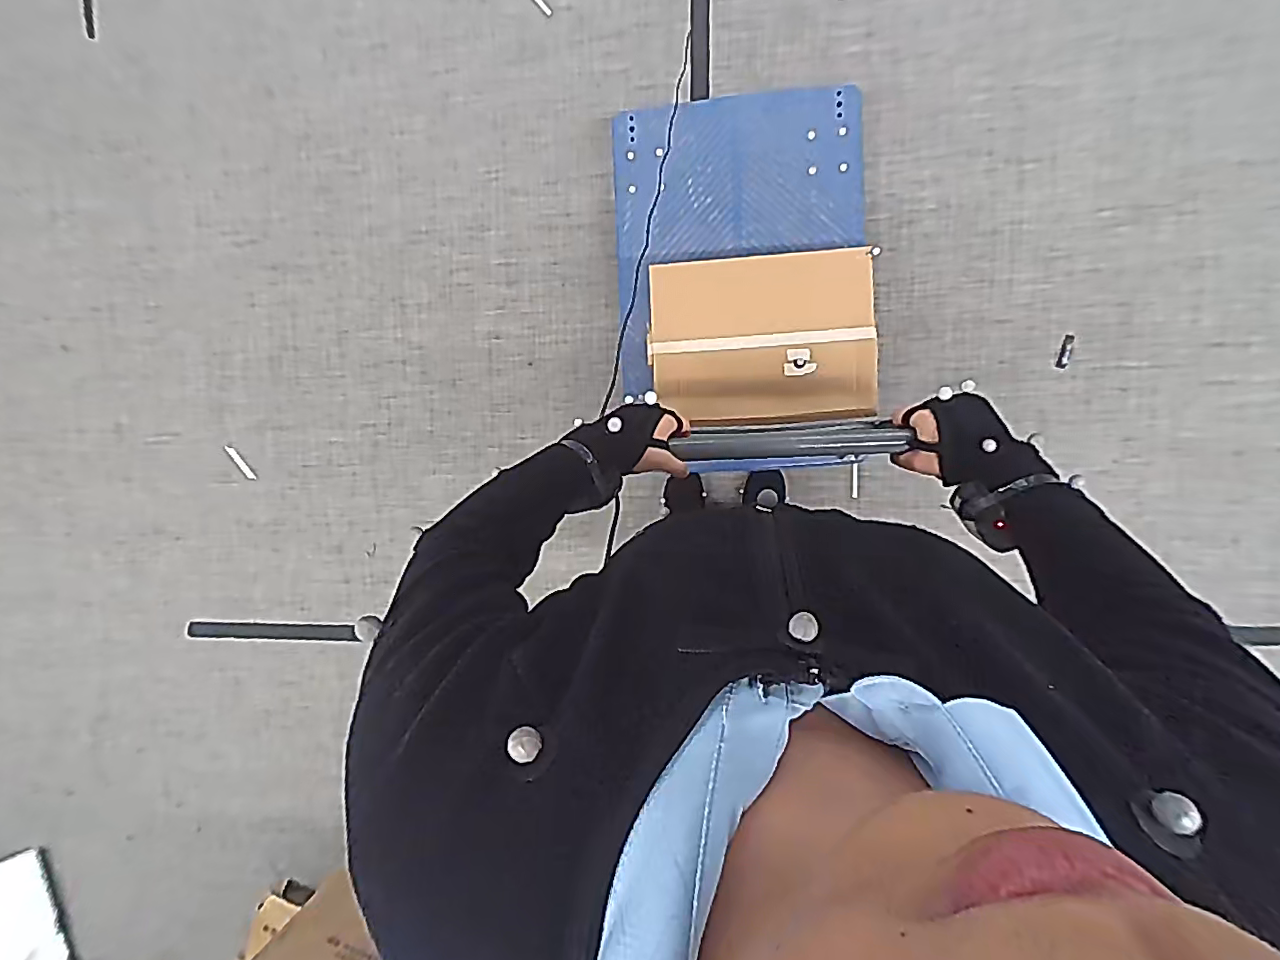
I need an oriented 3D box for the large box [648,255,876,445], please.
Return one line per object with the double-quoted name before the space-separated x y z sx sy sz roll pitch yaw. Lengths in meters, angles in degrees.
"large box" 0.235 -0.245 1.141 0.408 0.320 0.320 -3 92 6
